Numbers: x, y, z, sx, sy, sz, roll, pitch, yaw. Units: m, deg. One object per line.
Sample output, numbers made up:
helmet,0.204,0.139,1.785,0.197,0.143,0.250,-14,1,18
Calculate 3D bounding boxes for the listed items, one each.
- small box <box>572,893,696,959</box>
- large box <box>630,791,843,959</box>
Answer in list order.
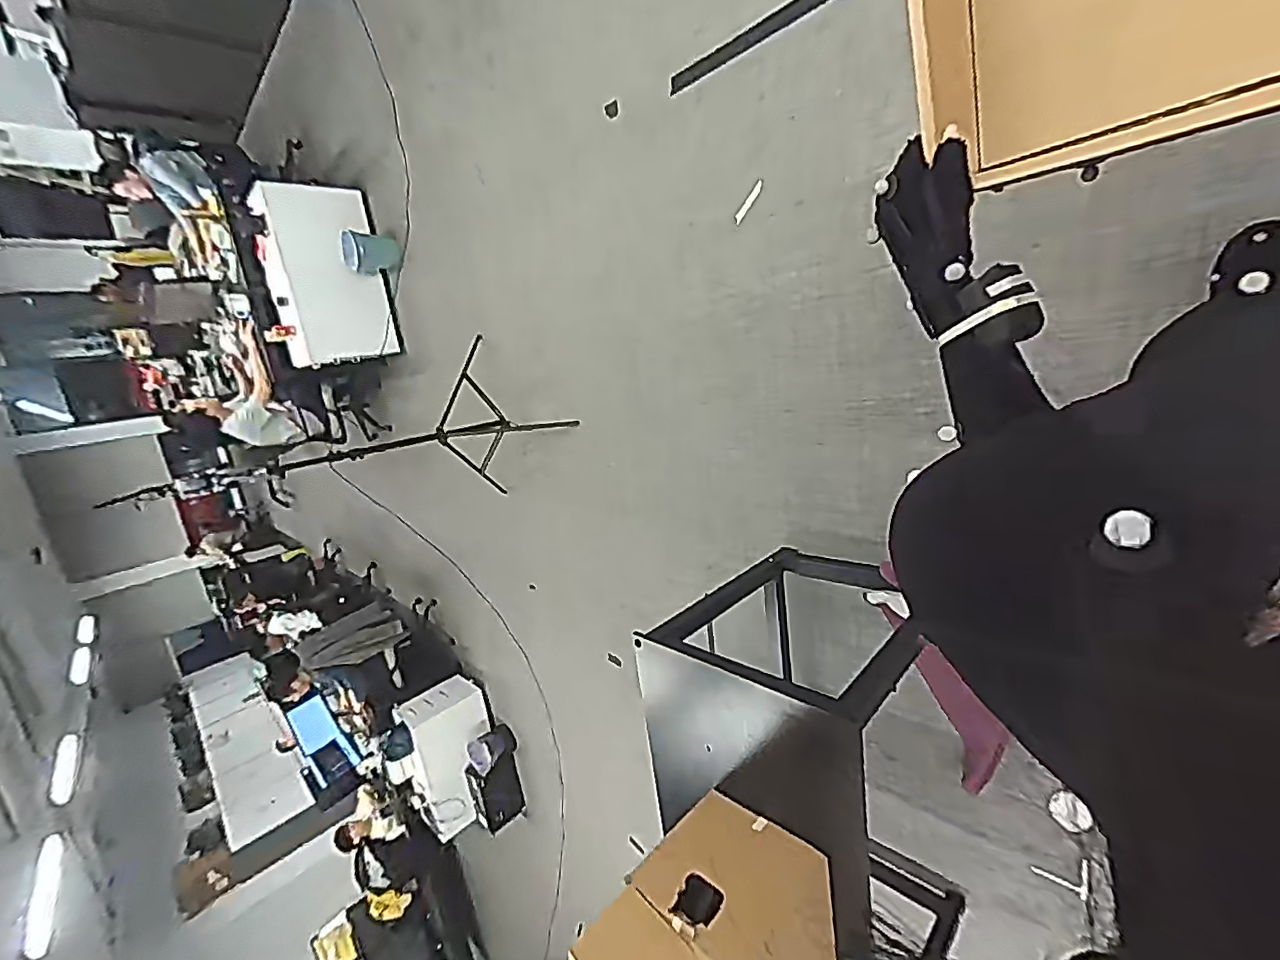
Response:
small box,-0.005,0.949,1.022,0.179,0.176,0.168,19,119,43
large box,0.221,0.998,1.168,0.320,0.320,0.408,2,106,46
